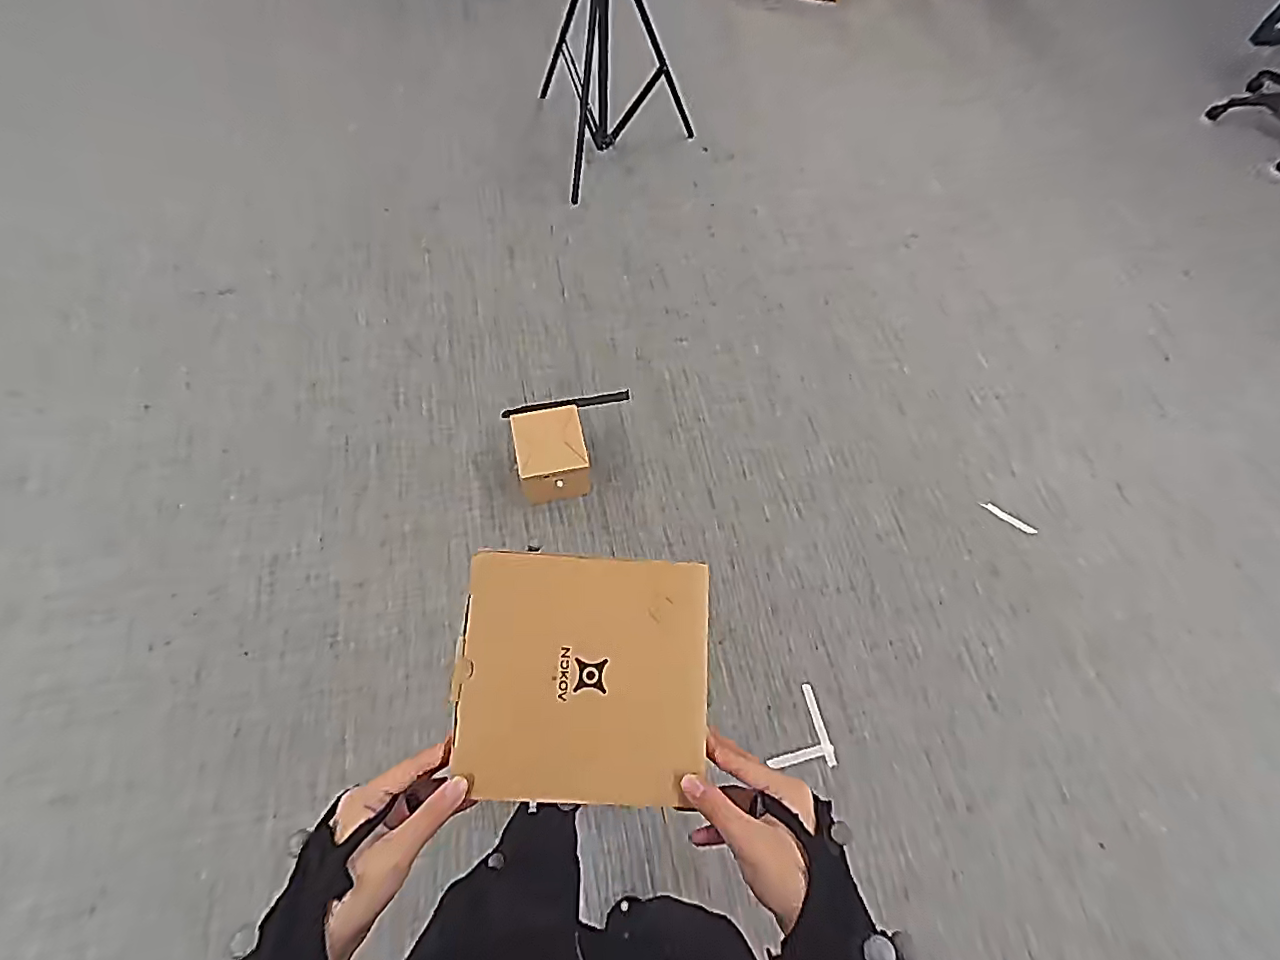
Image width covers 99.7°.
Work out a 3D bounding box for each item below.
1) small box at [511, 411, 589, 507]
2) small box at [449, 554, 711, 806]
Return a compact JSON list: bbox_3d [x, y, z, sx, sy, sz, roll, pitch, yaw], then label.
[{"bbox_3d":[-0.226,-0.054,1.371,0.168,0.176,0.179,-11,66,-9],"label":"small box"},{"bbox_3d":[-0.042,0.156,0.462,0.179,0.176,0.168,3,77,-1],"label":"small box"}]
